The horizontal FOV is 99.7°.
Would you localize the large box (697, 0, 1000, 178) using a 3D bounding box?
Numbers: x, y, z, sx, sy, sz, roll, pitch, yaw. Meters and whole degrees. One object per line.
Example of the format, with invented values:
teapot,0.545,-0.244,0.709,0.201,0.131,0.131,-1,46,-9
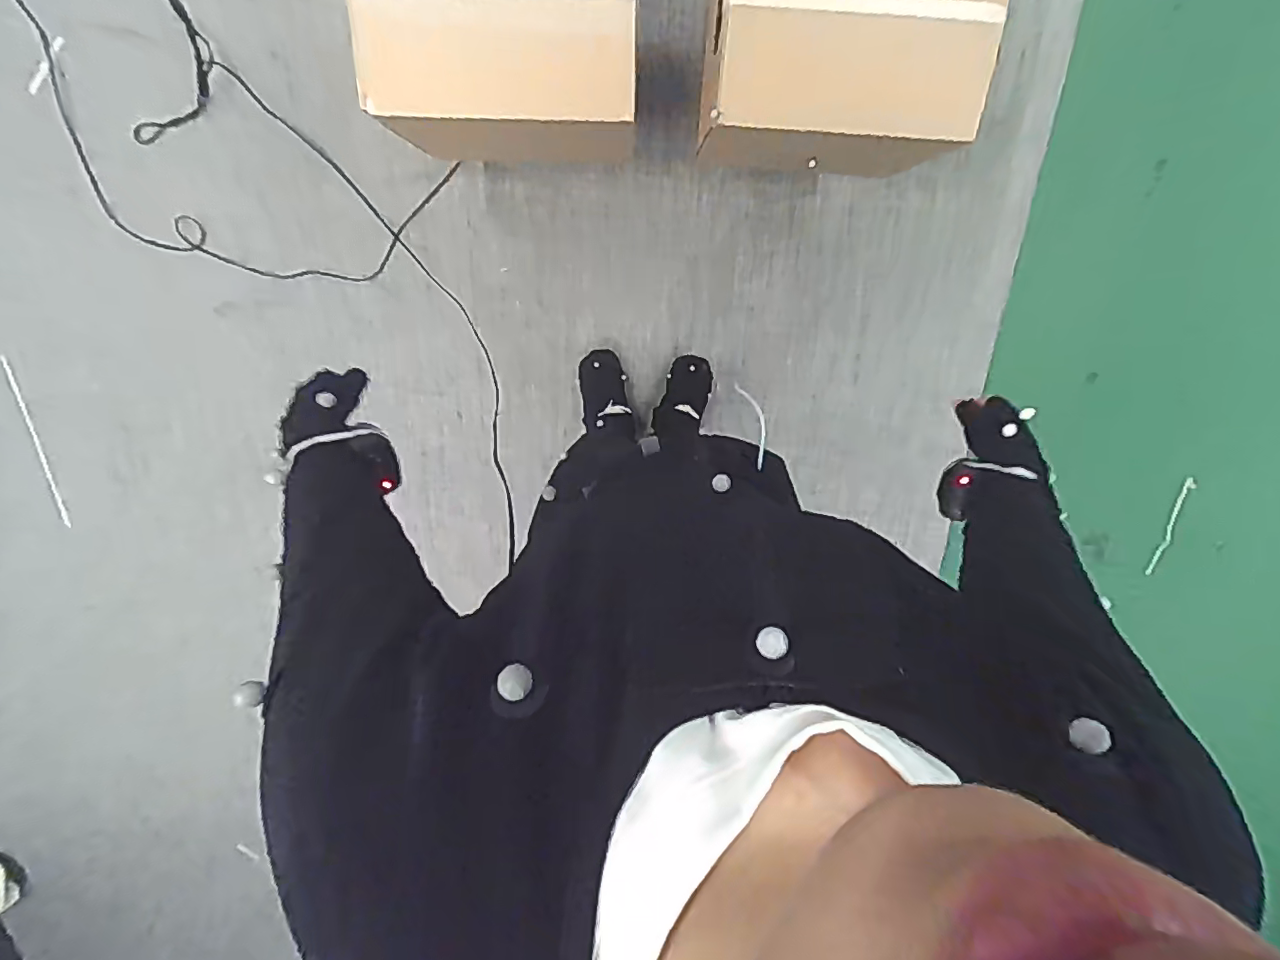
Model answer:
large box,0.325,-0.726,0.935,0.408,0.320,0.320,3,109,-1
